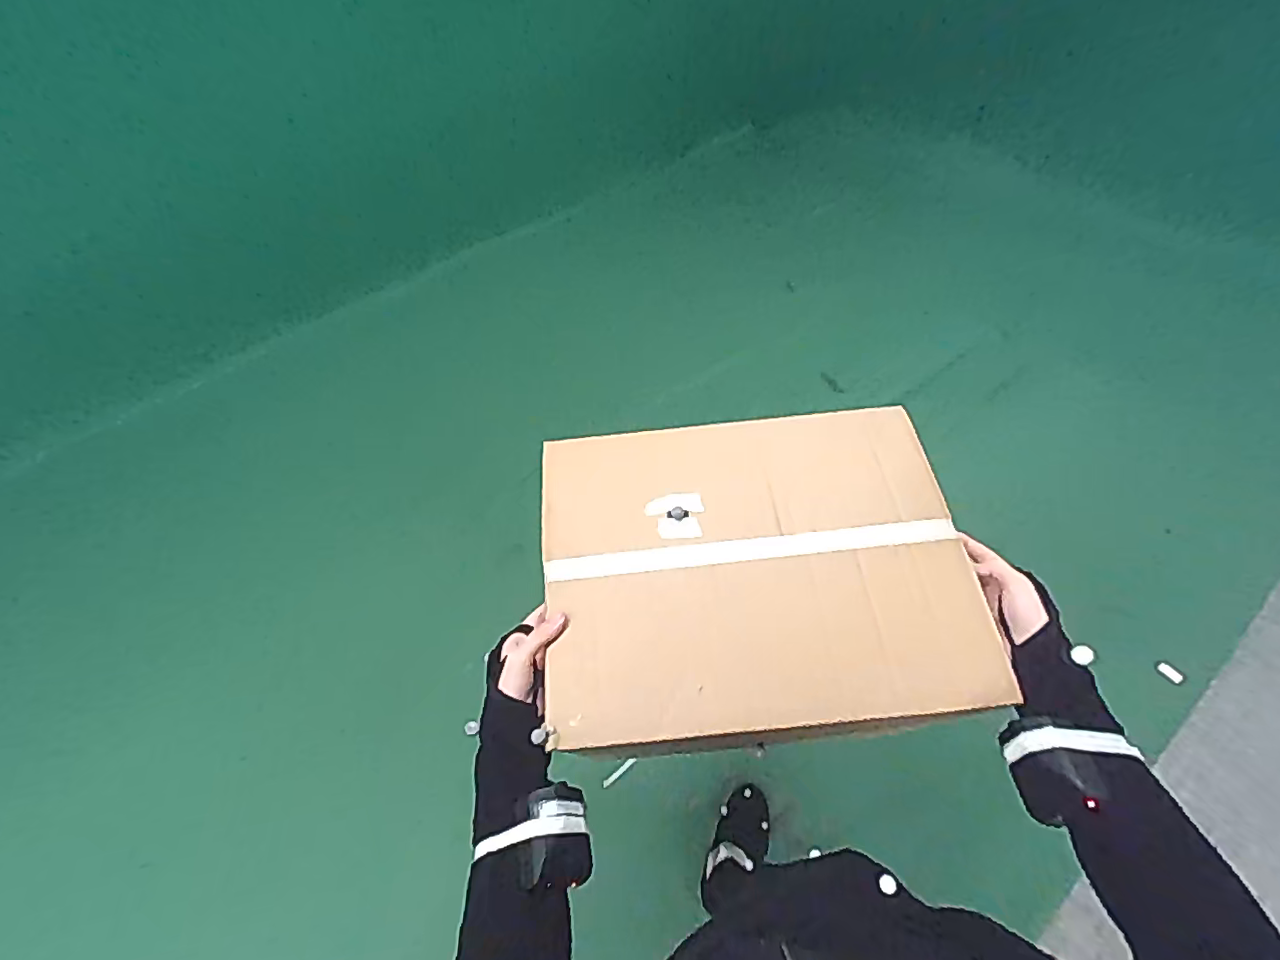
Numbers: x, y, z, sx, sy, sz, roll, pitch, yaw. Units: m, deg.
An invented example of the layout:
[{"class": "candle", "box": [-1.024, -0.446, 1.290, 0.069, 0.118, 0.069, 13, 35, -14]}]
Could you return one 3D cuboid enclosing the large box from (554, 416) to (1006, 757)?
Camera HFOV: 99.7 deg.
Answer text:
[{"class": "large box", "box": [0.123, 0.153, 0.674, 0.408, 0.320, 0.320, -6, 60, 2]}]
